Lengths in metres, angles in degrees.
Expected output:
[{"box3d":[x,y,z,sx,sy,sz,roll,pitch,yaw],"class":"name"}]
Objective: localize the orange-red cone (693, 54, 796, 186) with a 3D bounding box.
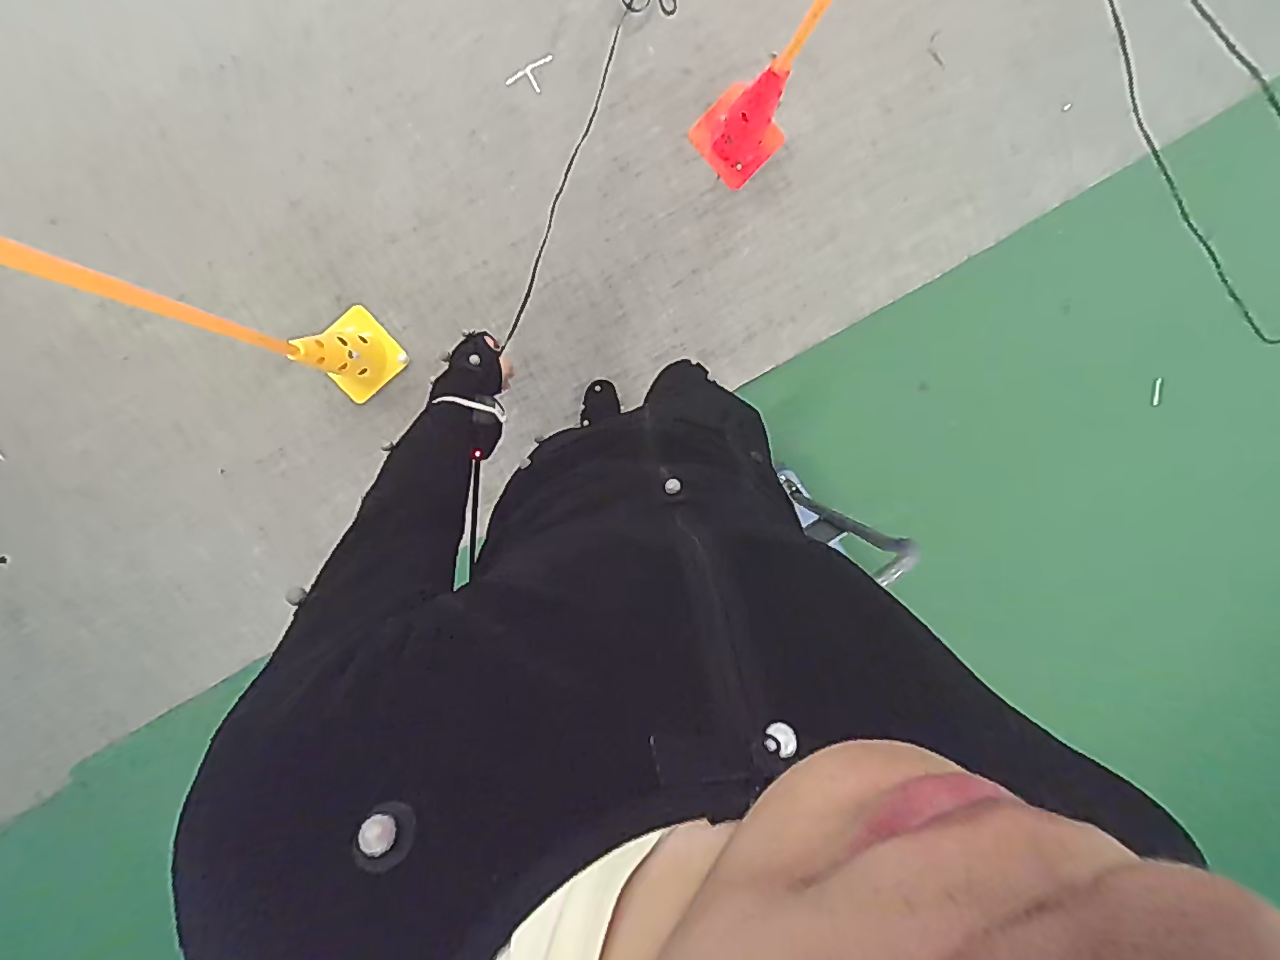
[{"box3d":[0.285,-0.894,1.283,0.199,0.360,0.198,-44,103,3],"class":"orange-red cone"}]
